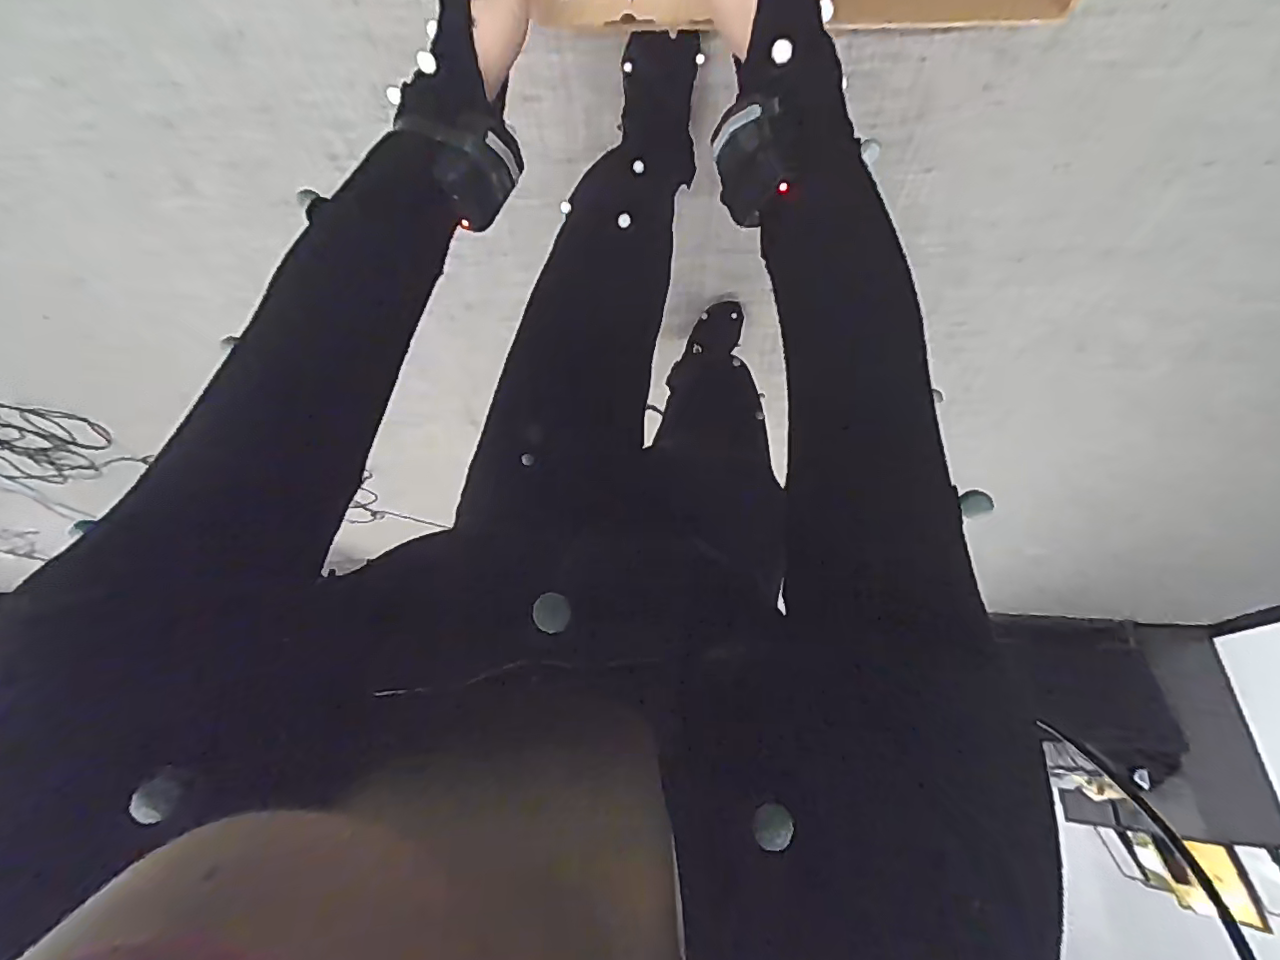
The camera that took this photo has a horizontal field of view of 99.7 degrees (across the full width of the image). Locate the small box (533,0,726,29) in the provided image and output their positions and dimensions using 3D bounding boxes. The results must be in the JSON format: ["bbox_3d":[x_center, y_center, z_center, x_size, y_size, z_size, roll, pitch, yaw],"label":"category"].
[{"bbox_3d":[-0.007,-0.500,0.422,0.168,0.176,0.179,1,153,5],"label":"small box"}]
